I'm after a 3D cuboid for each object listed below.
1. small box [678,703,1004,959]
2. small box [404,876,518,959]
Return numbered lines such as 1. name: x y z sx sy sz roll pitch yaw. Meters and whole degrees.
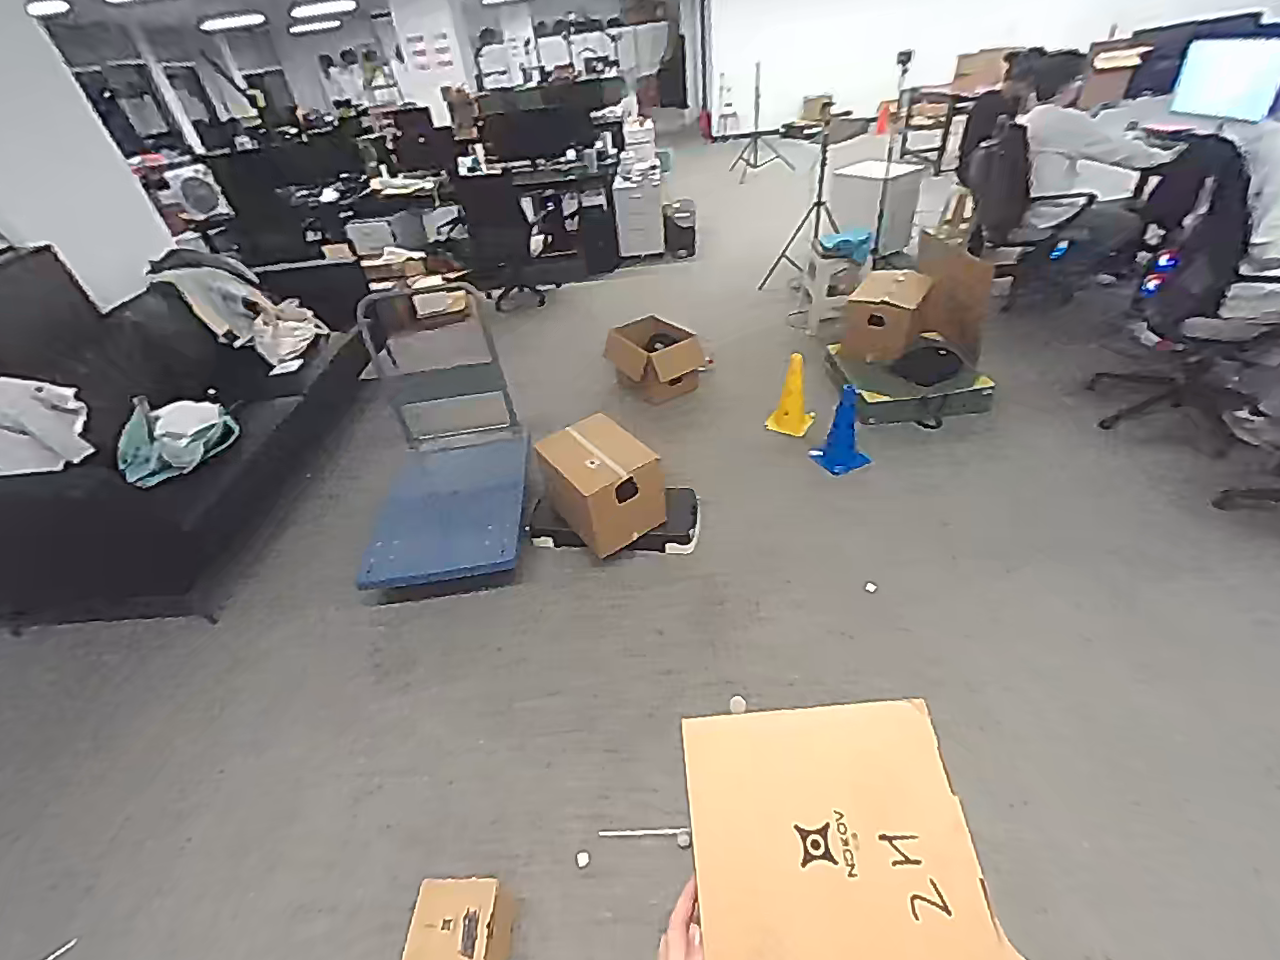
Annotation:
1. small box: 0.128 0.275 0.410 0.179 0.176 0.168 -6 59 4
2. small box: -0.377 0.980 1.168 0.179 0.176 0.168 -4 39 6
